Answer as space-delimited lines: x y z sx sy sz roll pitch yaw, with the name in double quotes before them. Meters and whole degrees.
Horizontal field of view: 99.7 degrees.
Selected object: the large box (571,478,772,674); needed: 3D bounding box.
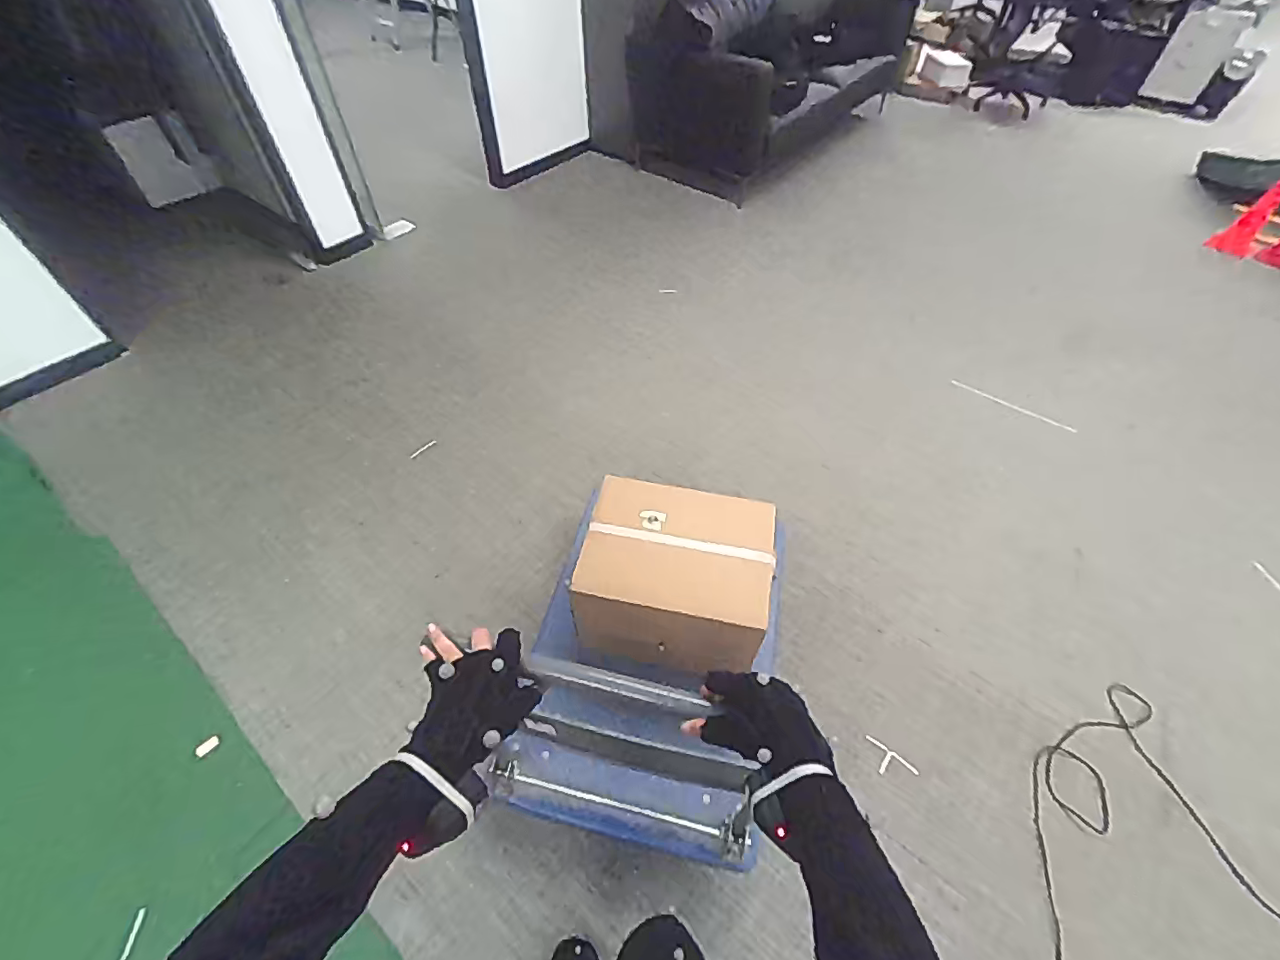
"large box" 0.083 0.232 1.290 0.408 0.320 0.320 9 51 7
